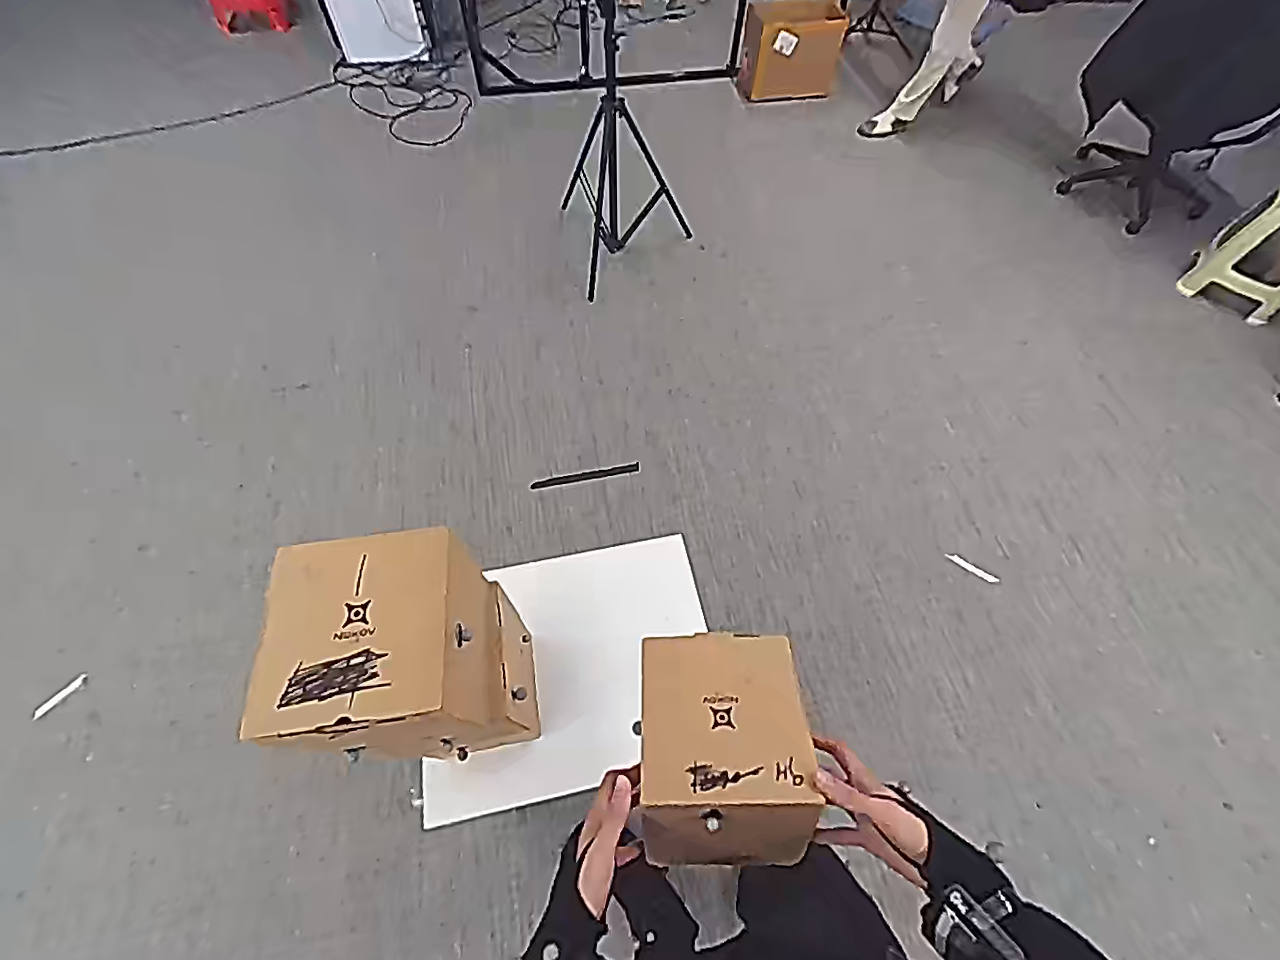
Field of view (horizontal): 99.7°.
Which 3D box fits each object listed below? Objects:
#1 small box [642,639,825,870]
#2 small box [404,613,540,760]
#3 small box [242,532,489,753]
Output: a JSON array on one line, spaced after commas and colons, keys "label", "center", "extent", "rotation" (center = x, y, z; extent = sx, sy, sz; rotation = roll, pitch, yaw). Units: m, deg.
[{"label": "small box", "center": [0.087, 0.297, 0.592], "extent": [0.168, 0.176, 0.179], "rotation": [-2, 39, 2]}, {"label": "small box", "center": [-0.256, 0.327, 0.844], "extent": [0.168, 0.176, 0.179], "rotation": [-9, 61, -7]}, {"label": "small box", "center": [-0.255, 0.173, 0.553], "extent": [0.168, 0.176, 0.179], "rotation": [-7, 60, -5]}]
